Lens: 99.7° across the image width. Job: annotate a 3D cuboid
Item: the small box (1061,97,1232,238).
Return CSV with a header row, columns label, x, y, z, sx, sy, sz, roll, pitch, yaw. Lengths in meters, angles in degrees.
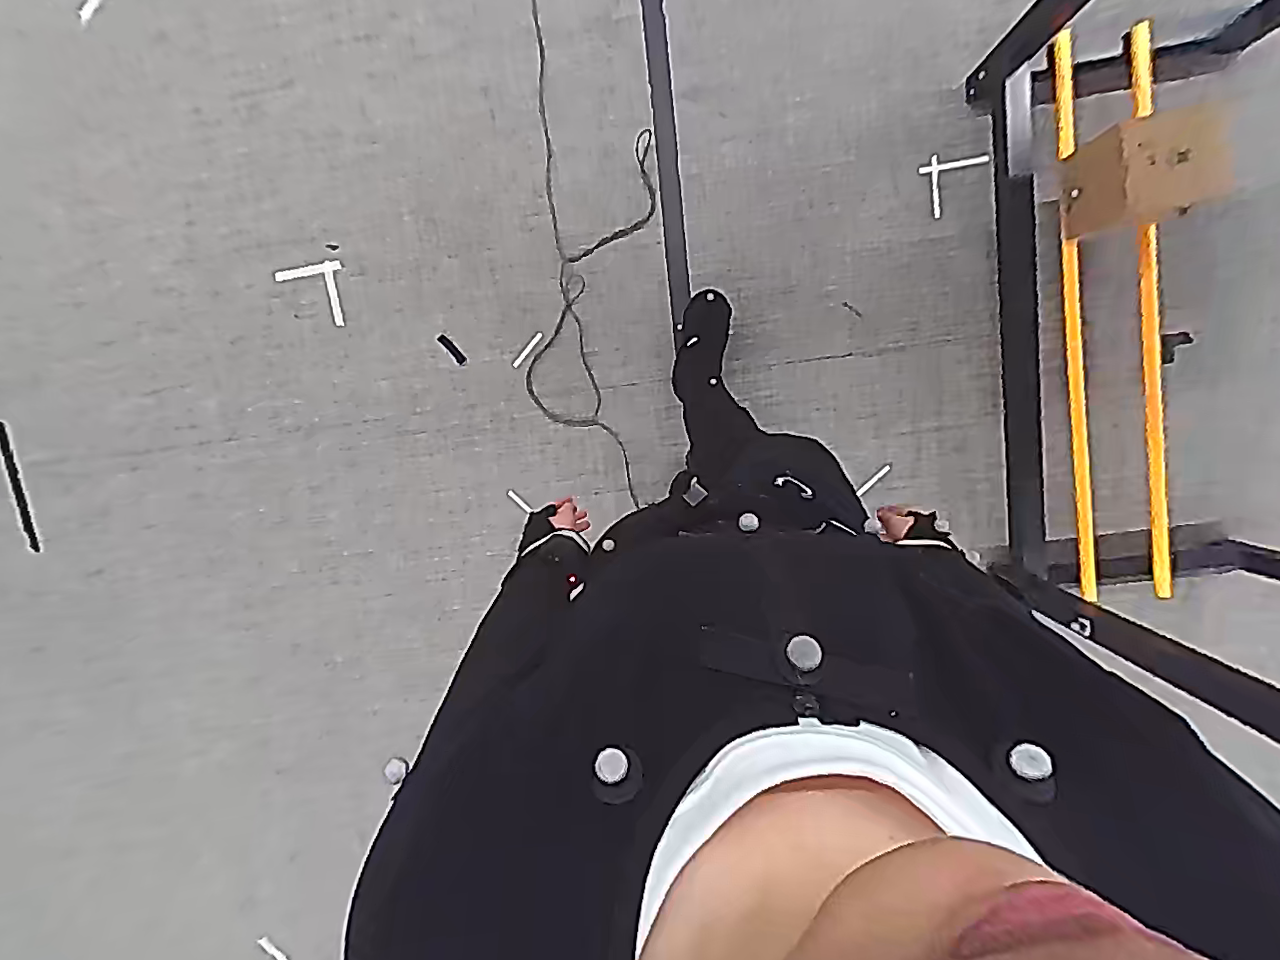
label,x,y,z,sx,sy,sz,roll,pitch,yaw
small box,0.956,-0.583,1.033,0.179,0.176,0.168,-10,97,7
